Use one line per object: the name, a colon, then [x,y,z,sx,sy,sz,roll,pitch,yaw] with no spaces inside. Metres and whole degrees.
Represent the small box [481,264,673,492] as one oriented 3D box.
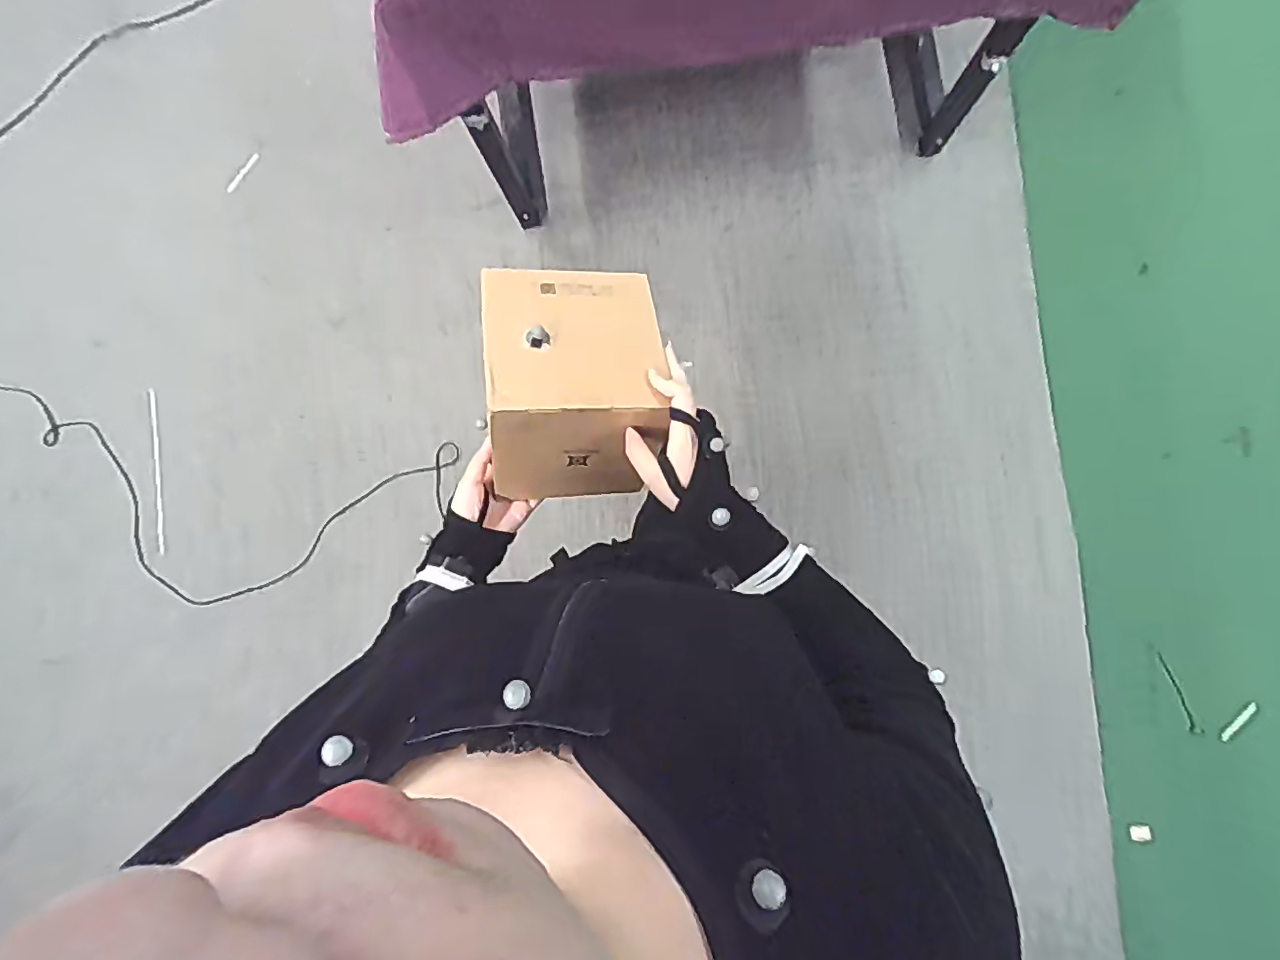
small box: [-0.078,-0.103,0.571,0.168,0.179,0.176,-3,64,-14]
